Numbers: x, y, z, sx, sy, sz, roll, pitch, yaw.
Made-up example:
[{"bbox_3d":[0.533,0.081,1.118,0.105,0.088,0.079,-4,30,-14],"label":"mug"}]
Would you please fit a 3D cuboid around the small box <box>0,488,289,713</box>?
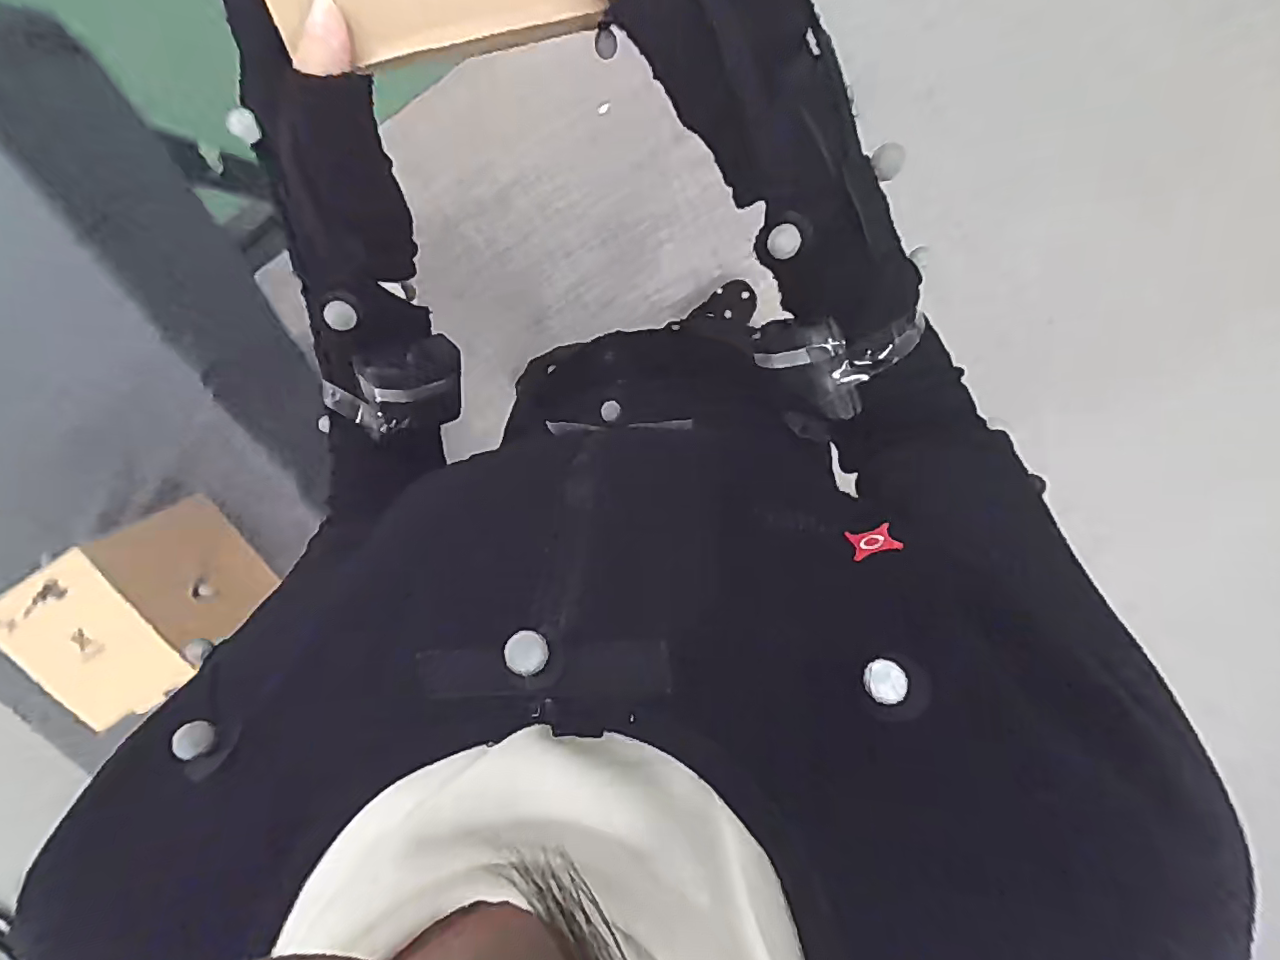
[{"bbox_3d":[-0.590,0.138,0.665,0.168,0.176,0.179,-31,105,13],"label":"small box"}]
